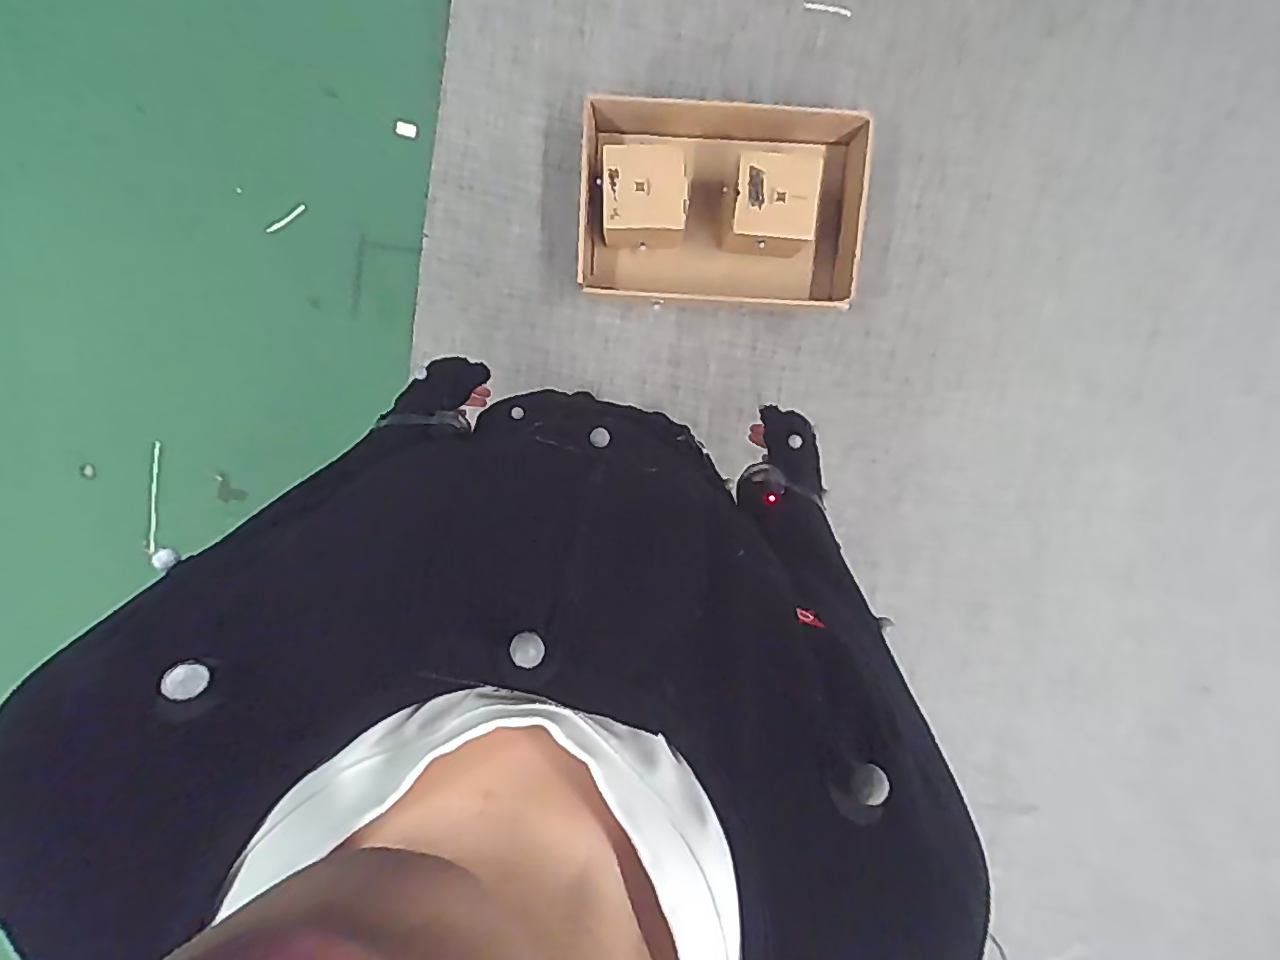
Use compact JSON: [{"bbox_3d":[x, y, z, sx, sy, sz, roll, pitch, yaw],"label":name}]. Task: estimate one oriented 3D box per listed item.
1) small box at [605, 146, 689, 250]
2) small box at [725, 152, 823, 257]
[{"bbox_3d":[0.012,-0.629,1.221,0.179,0.176,0.168,0,99,-1],"label":"small box"},{"bbox_3d":[0.292,-0.613,1.222,0.179,0.176,0.168,5,100,0],"label":"small box"}]
